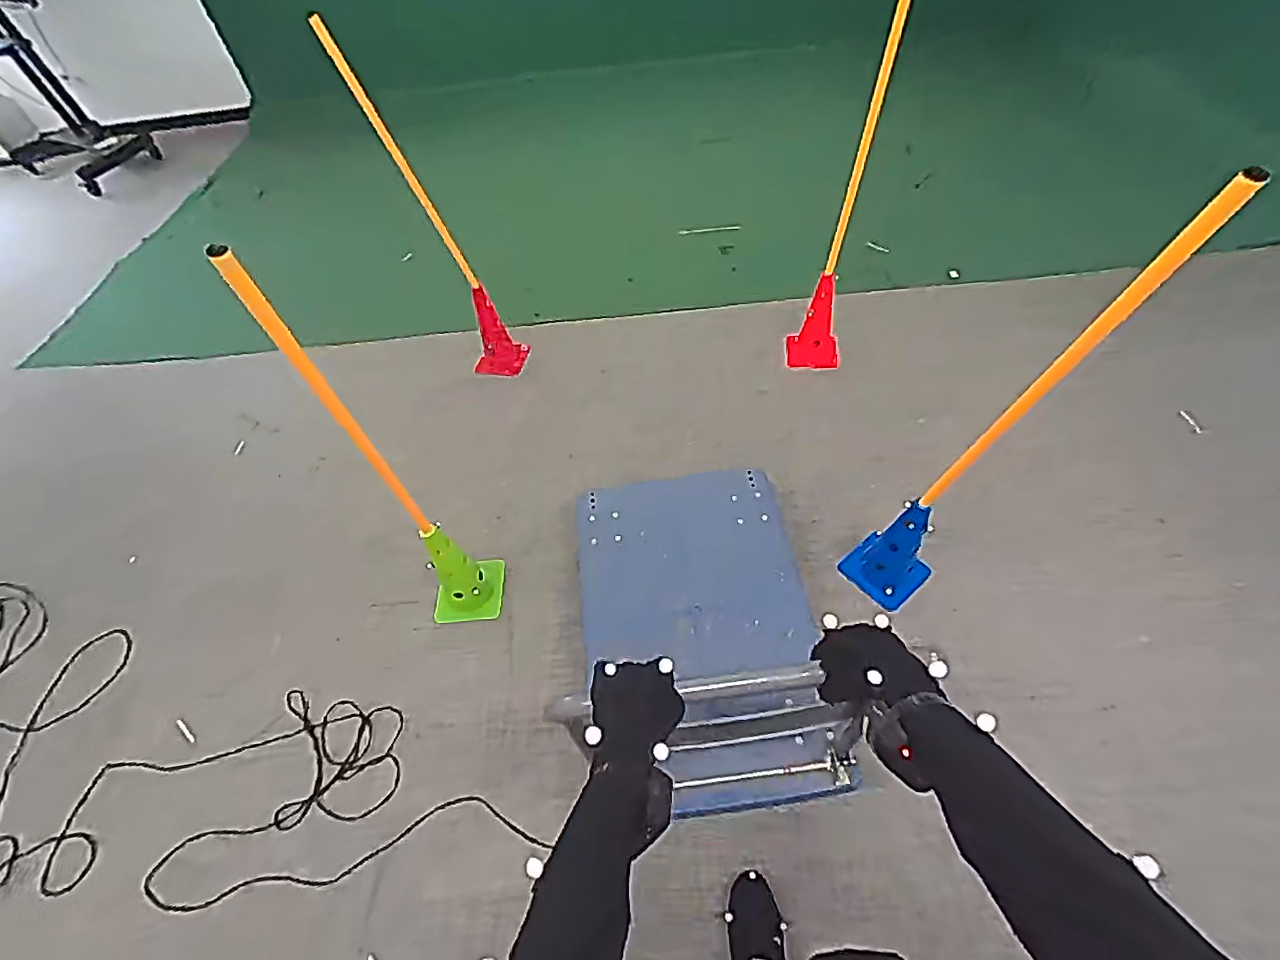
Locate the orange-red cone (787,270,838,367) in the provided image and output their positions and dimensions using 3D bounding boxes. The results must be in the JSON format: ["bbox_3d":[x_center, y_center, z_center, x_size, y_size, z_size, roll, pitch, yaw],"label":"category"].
[{"bbox_3d":[0.680,-0.628,2.053,0.198,0.360,0.199,4,55,10],"label":"orange-red cone"}]
